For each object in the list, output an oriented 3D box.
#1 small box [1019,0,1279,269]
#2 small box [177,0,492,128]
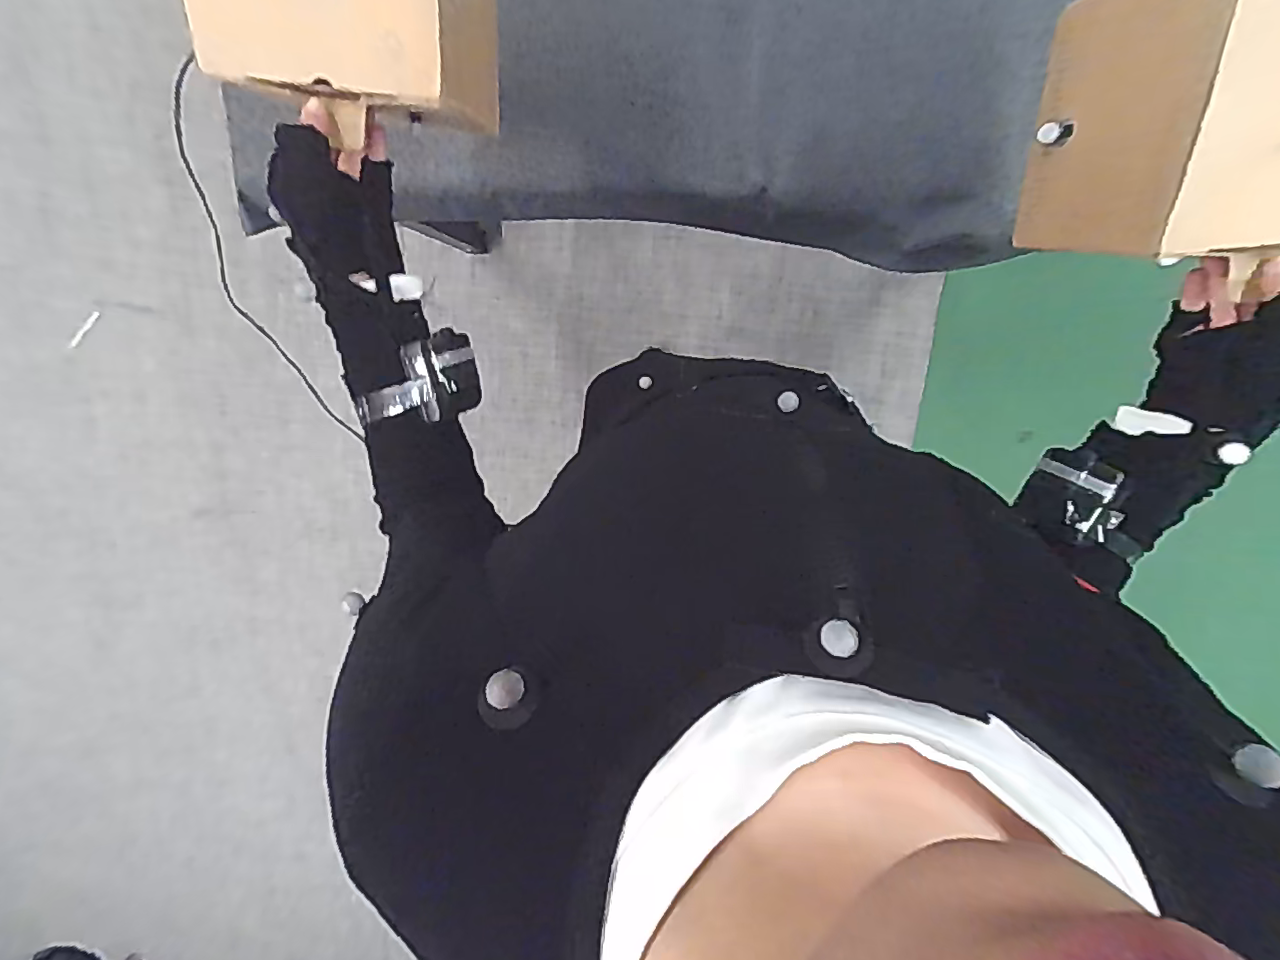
[{"bbox_3d":[0.412,-0.256,0.384,0.168,0.176,0.179,-3,116,4],"label":"small box"},{"bbox_3d":[-0.209,-0.380,0.400,0.168,0.176,0.179,6,115,-4],"label":"small box"}]
